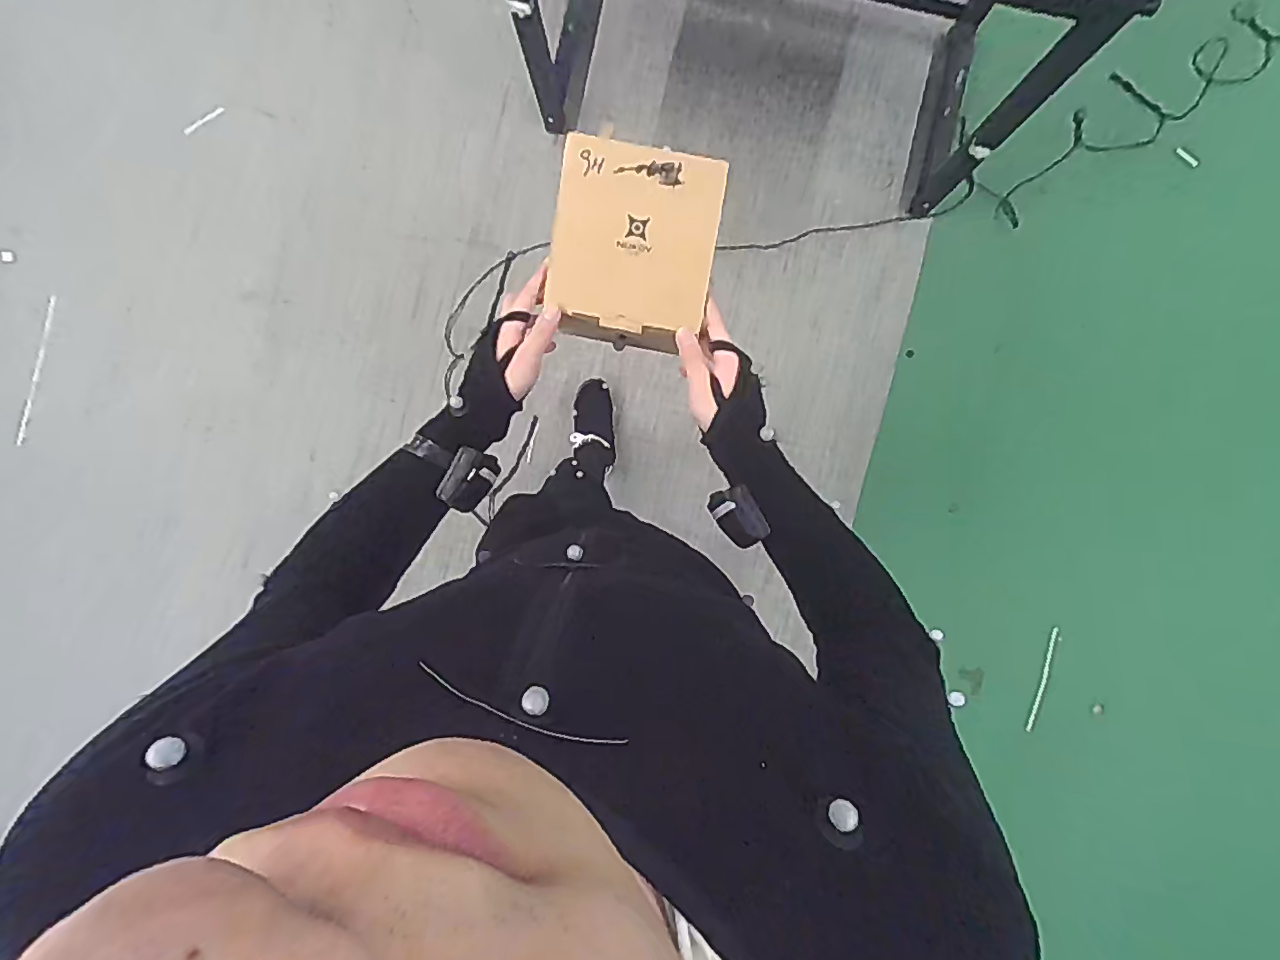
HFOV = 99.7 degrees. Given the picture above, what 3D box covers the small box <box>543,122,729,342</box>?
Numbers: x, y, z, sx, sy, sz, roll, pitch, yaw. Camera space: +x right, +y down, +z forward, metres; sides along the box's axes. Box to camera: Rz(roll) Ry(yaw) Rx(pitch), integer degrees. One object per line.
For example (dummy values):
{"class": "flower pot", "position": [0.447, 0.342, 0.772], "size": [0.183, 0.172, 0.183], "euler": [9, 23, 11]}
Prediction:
{"class": "small box", "position": [-0.006, -0.263, 0.620], "size": [0.168, 0.176, 0.179], "euler": [9, 97, -3]}
